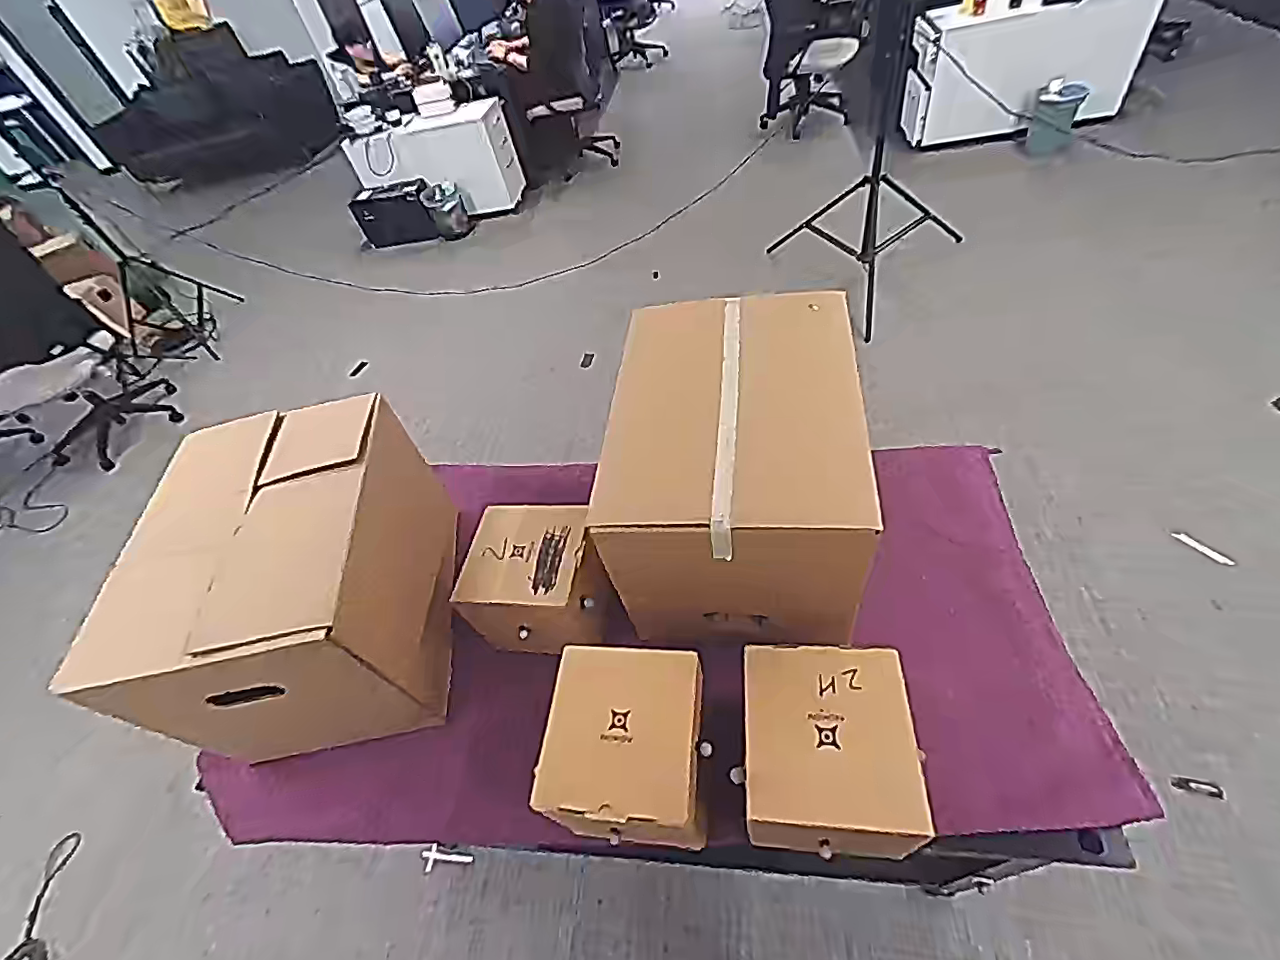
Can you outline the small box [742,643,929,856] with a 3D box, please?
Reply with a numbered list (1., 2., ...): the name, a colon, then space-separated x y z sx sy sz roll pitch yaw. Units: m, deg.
1. small box: 0.203 0.302 0.605 0.168 0.176 0.179 -1 49 12
